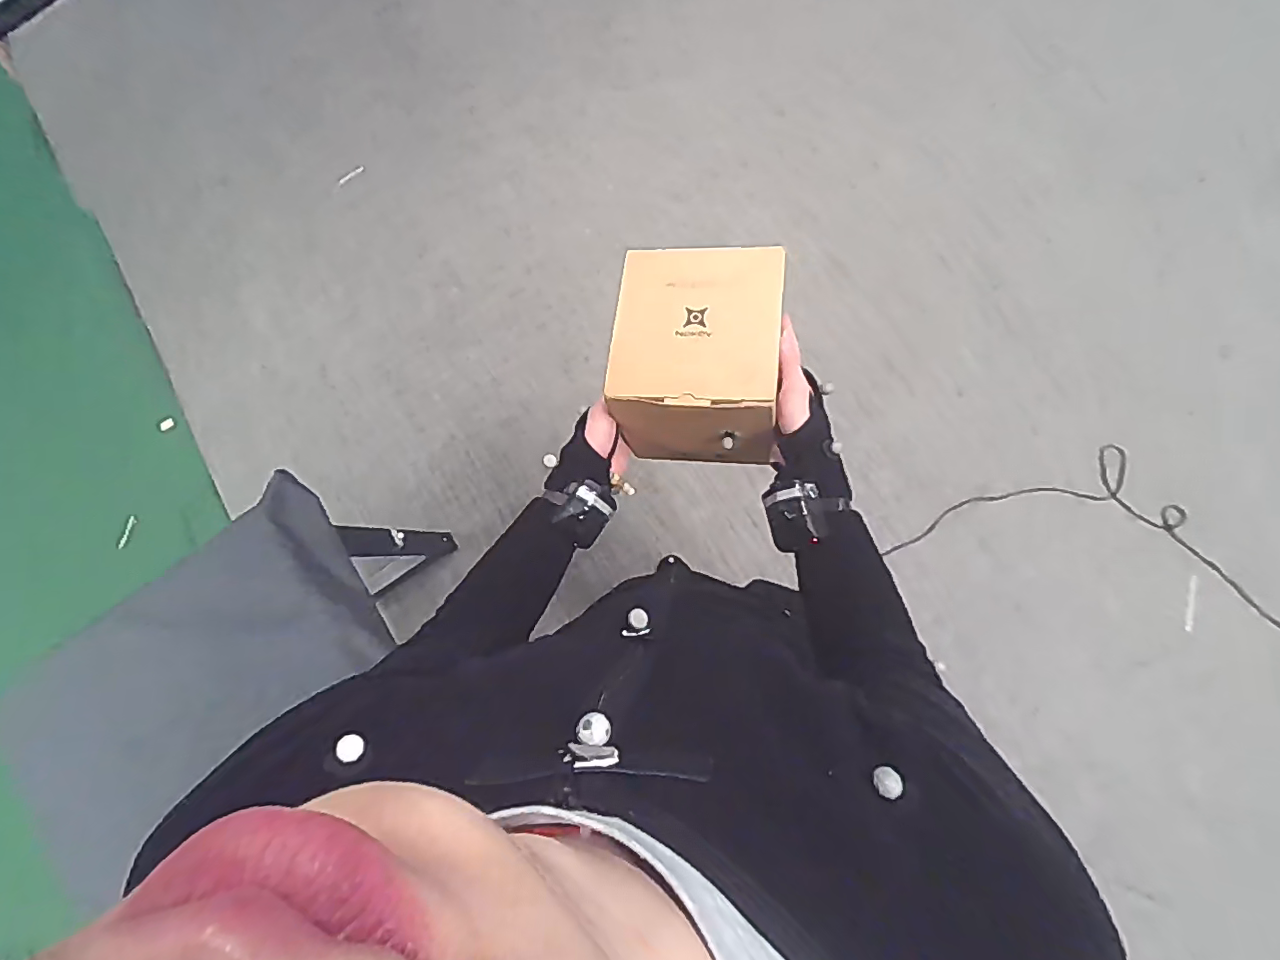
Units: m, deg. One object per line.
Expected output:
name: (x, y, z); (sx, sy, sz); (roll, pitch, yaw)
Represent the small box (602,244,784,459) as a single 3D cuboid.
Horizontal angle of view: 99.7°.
small box: (0.067, -0.133, 0.604); (0.168, 0.176, 0.179); (4, 71, 11)
